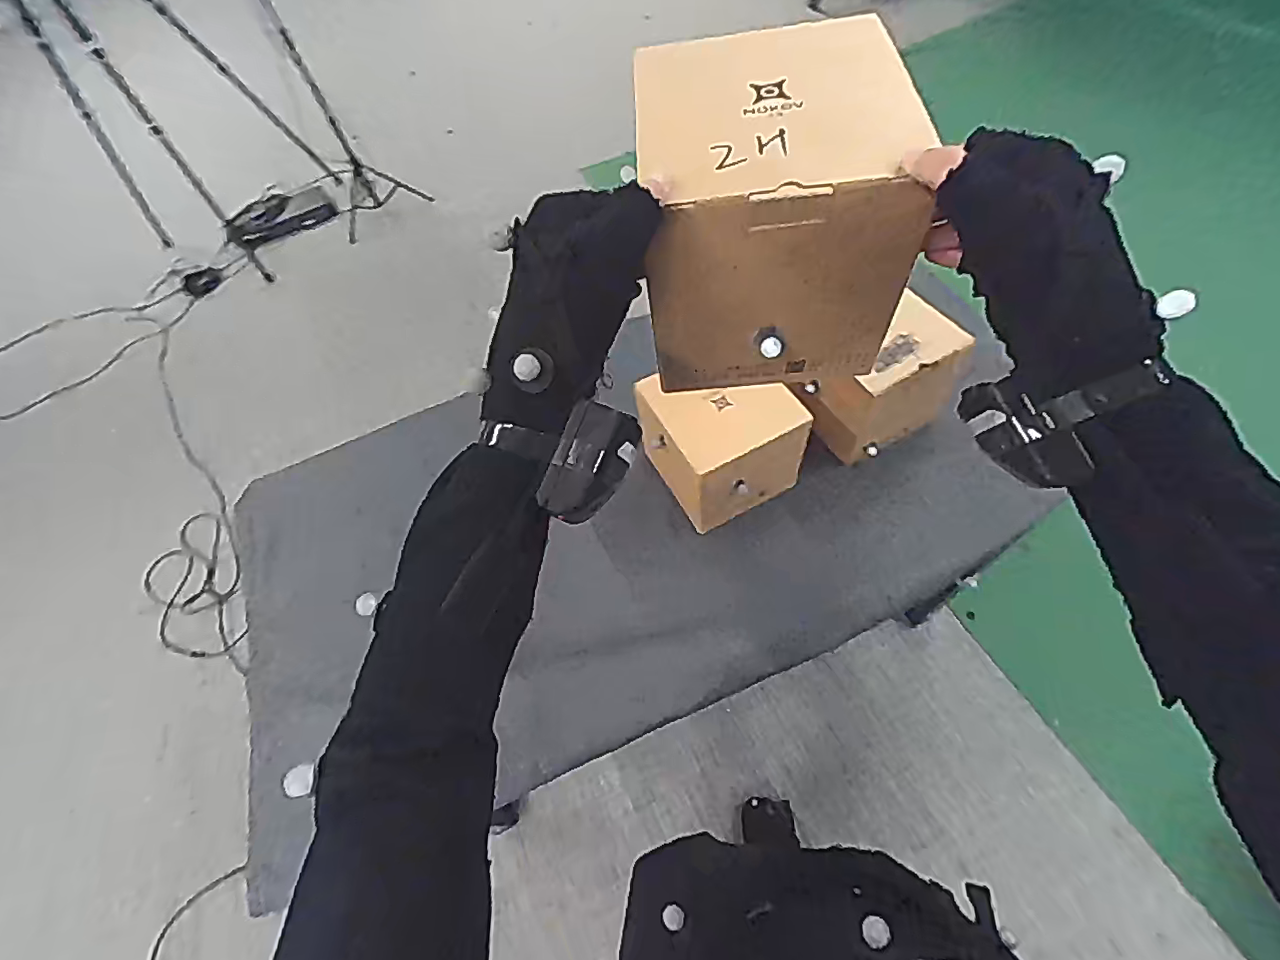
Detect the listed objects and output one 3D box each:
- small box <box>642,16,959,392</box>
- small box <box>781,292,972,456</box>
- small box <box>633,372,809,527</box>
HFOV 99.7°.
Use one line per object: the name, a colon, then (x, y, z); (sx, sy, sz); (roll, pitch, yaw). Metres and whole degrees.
small box: (0.092, -0.187, 0.392); (0.168, 0.176, 0.179); (-4, 61, 7)
small box: (0.326, -0.157, 0.788); (0.168, 0.176, 0.179); (-27, 58, -9)
small box: (0.111, -0.055, 0.759); (0.168, 0.176, 0.179); (-27, 58, -9)
